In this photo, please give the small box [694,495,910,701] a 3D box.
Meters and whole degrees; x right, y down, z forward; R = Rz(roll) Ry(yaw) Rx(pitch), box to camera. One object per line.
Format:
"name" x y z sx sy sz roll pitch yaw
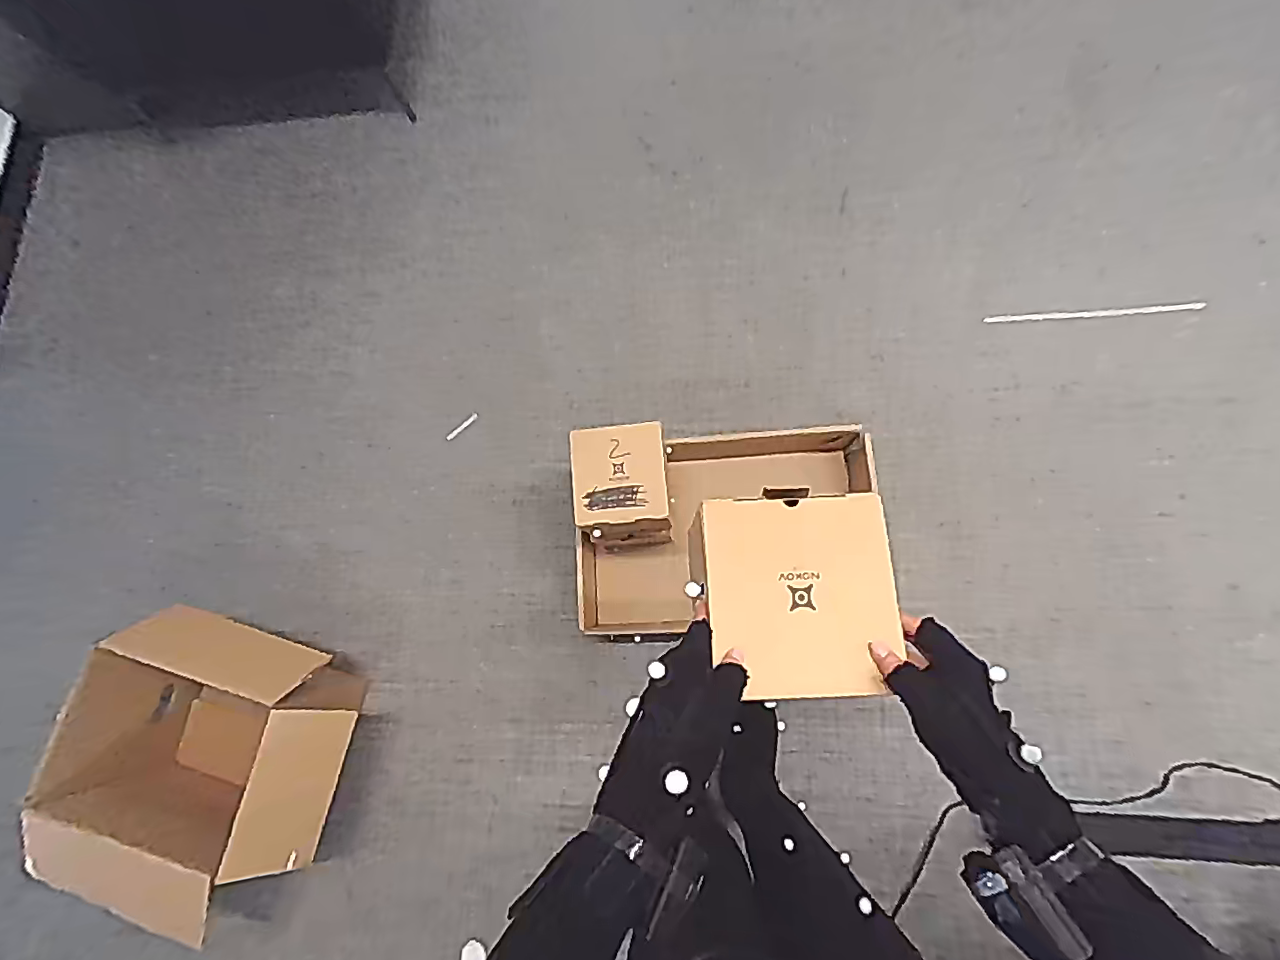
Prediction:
"small box" 0.145 0.120 0.550 0.168 0.176 0.179 -2 74 1
